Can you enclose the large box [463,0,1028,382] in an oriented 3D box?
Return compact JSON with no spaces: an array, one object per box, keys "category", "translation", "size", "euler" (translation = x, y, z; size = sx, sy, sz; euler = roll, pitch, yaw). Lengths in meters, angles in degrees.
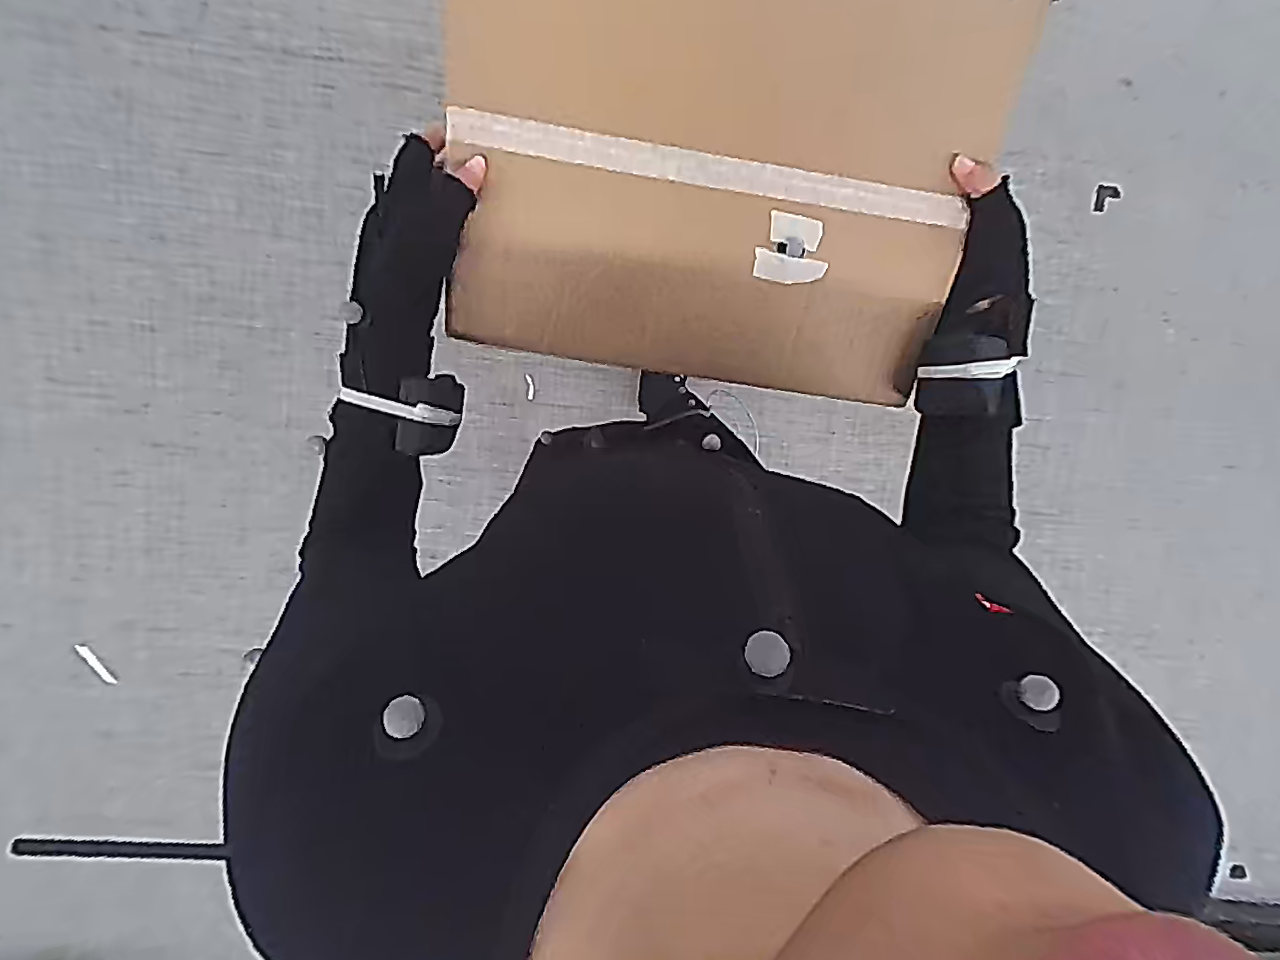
[{"category":"large box","translation":[0.058,-0.312,0.558],"size":[0.408,0.320,0.320],"euler":[8,115,-5]}]
